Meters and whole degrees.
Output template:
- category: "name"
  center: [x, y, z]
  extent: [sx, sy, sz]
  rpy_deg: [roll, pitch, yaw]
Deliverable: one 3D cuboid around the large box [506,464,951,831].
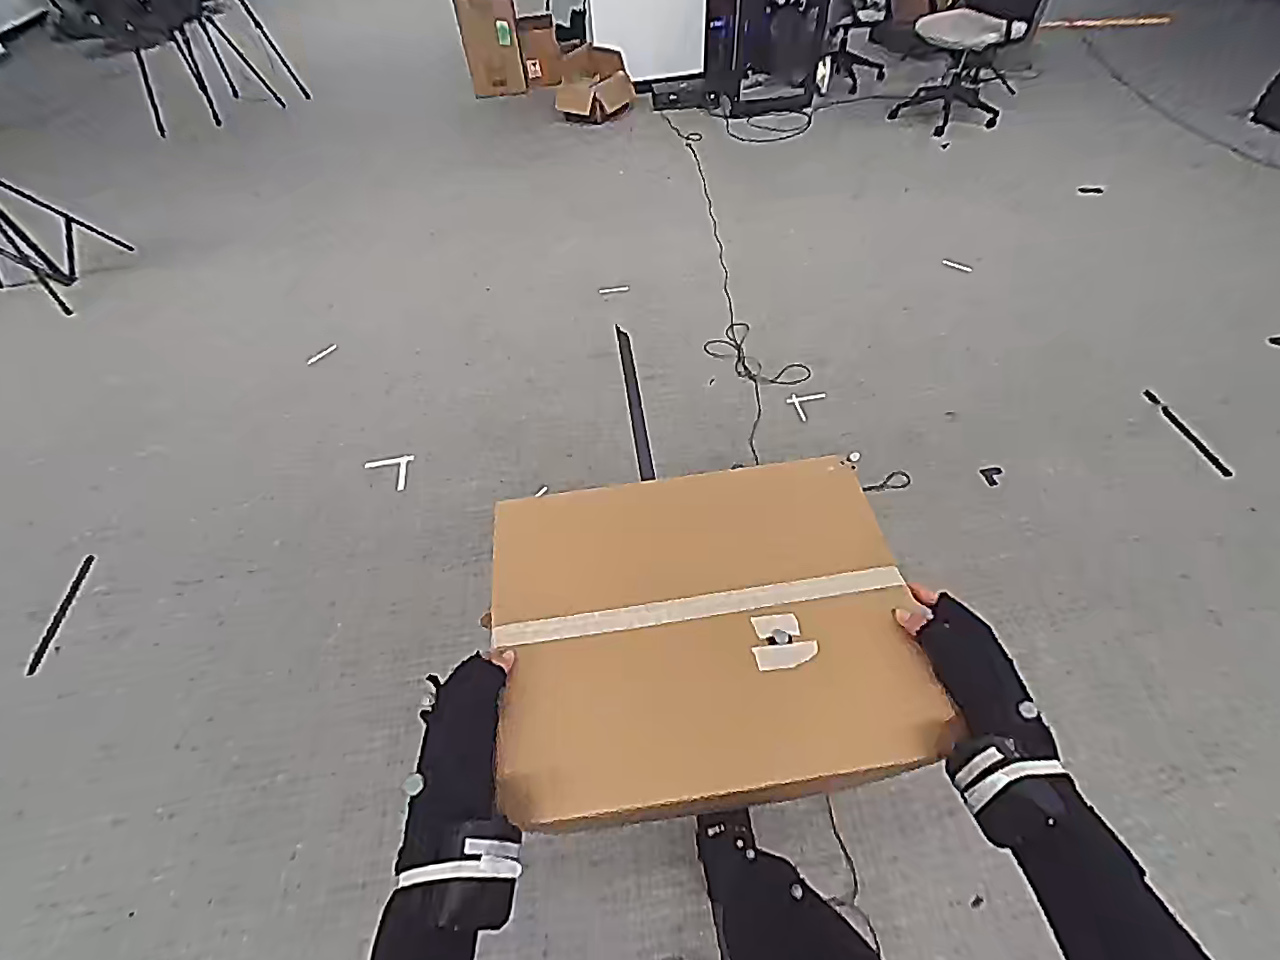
- category: "large box"
  center: [0.067, 0.218, 0.675]
  extent: [0.408, 0.320, 0.320]
  rpy_deg: [-8, 56, -3]
